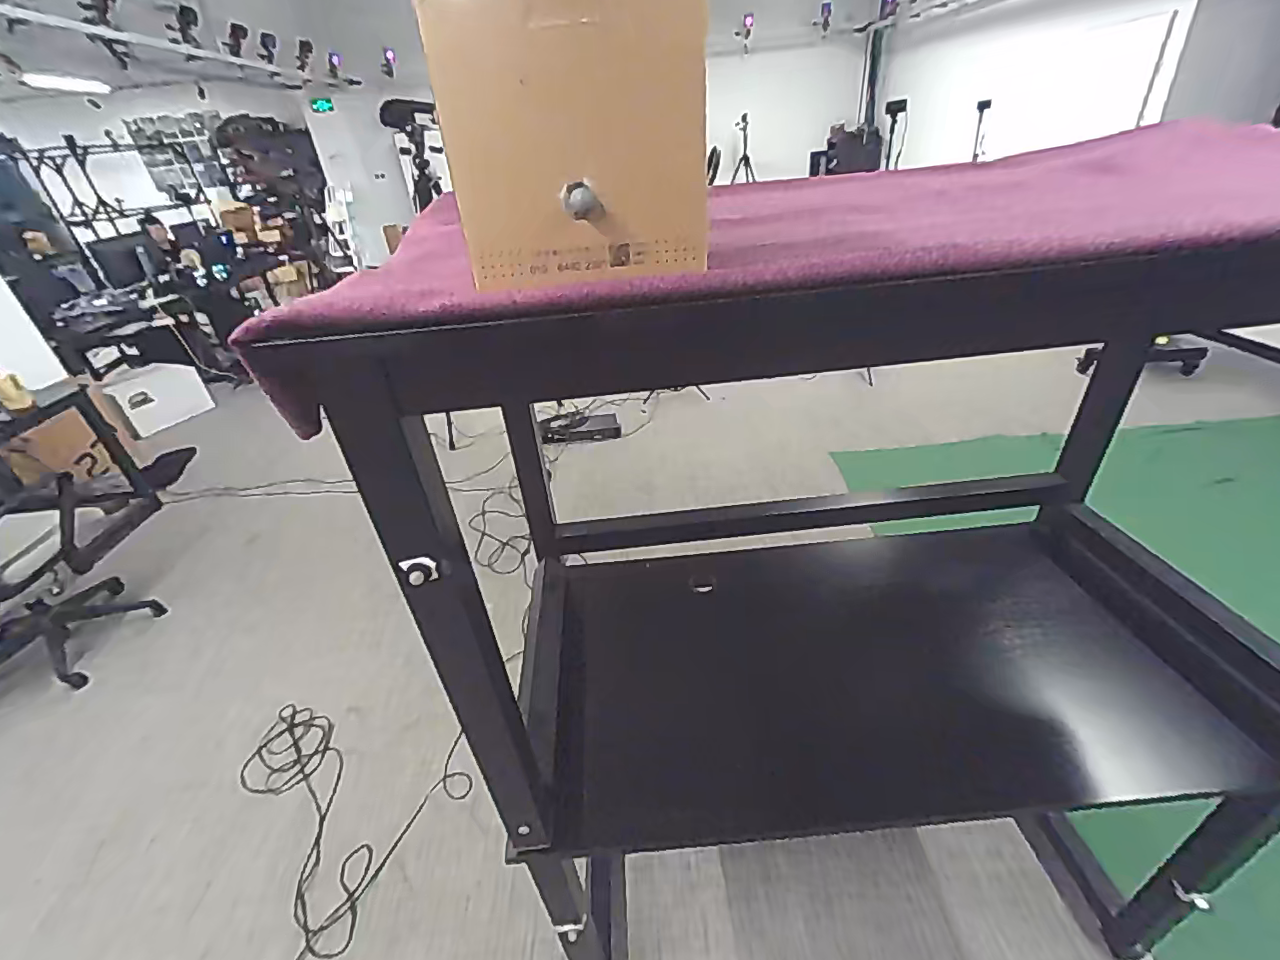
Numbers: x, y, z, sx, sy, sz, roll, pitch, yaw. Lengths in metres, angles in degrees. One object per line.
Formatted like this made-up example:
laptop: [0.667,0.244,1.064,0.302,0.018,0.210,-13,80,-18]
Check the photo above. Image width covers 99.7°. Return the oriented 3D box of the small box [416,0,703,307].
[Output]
small box: [-0.044,-0.239,0.416,0.168,0.176,0.179,-5,32,0]
